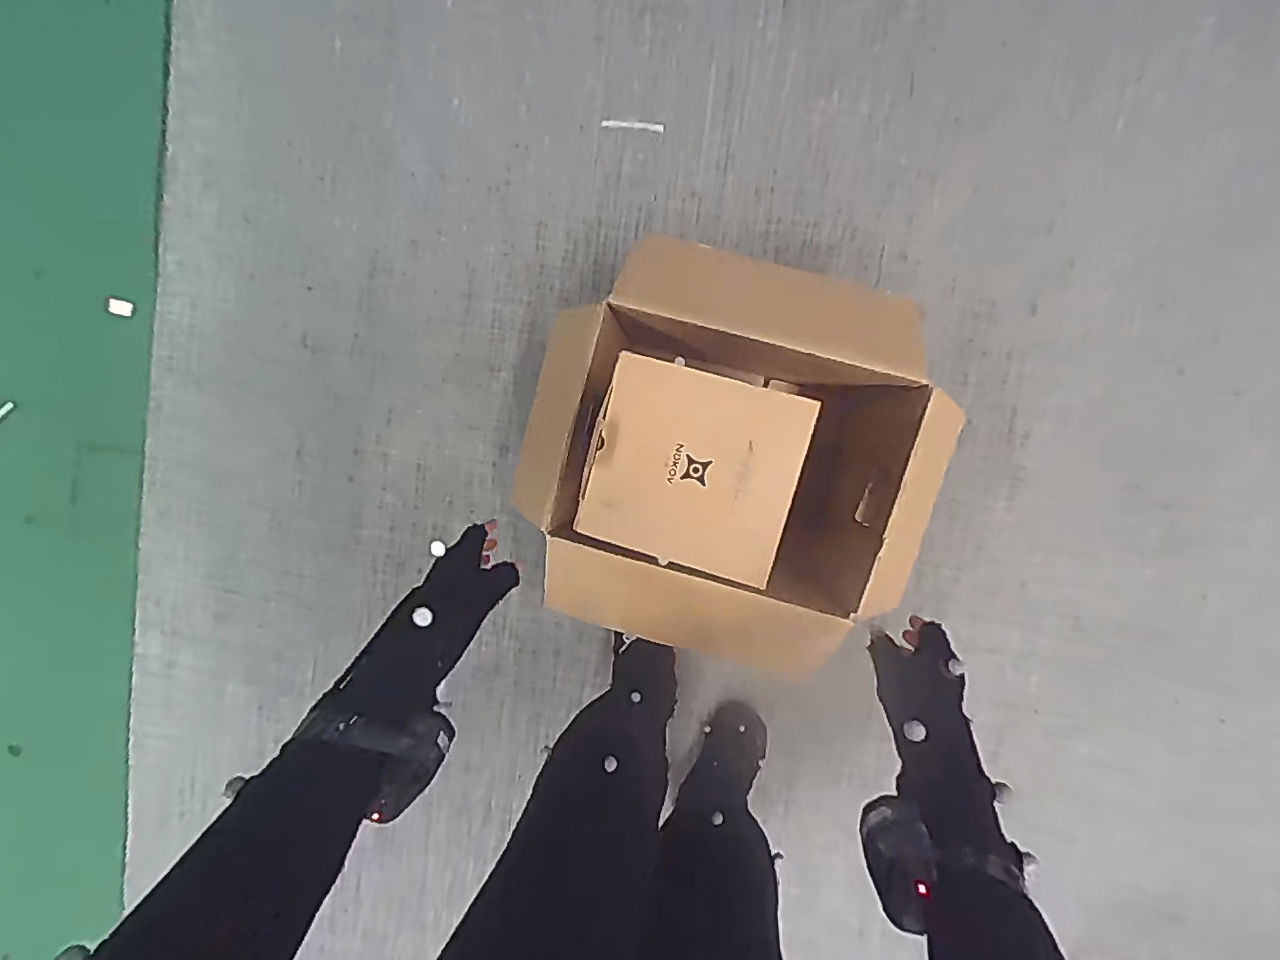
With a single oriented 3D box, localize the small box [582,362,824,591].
[{"bbox_3d":[0.060,-0.009,0.543,0.179,0.176,0.168,14,97,6],"label":"small box"}]
